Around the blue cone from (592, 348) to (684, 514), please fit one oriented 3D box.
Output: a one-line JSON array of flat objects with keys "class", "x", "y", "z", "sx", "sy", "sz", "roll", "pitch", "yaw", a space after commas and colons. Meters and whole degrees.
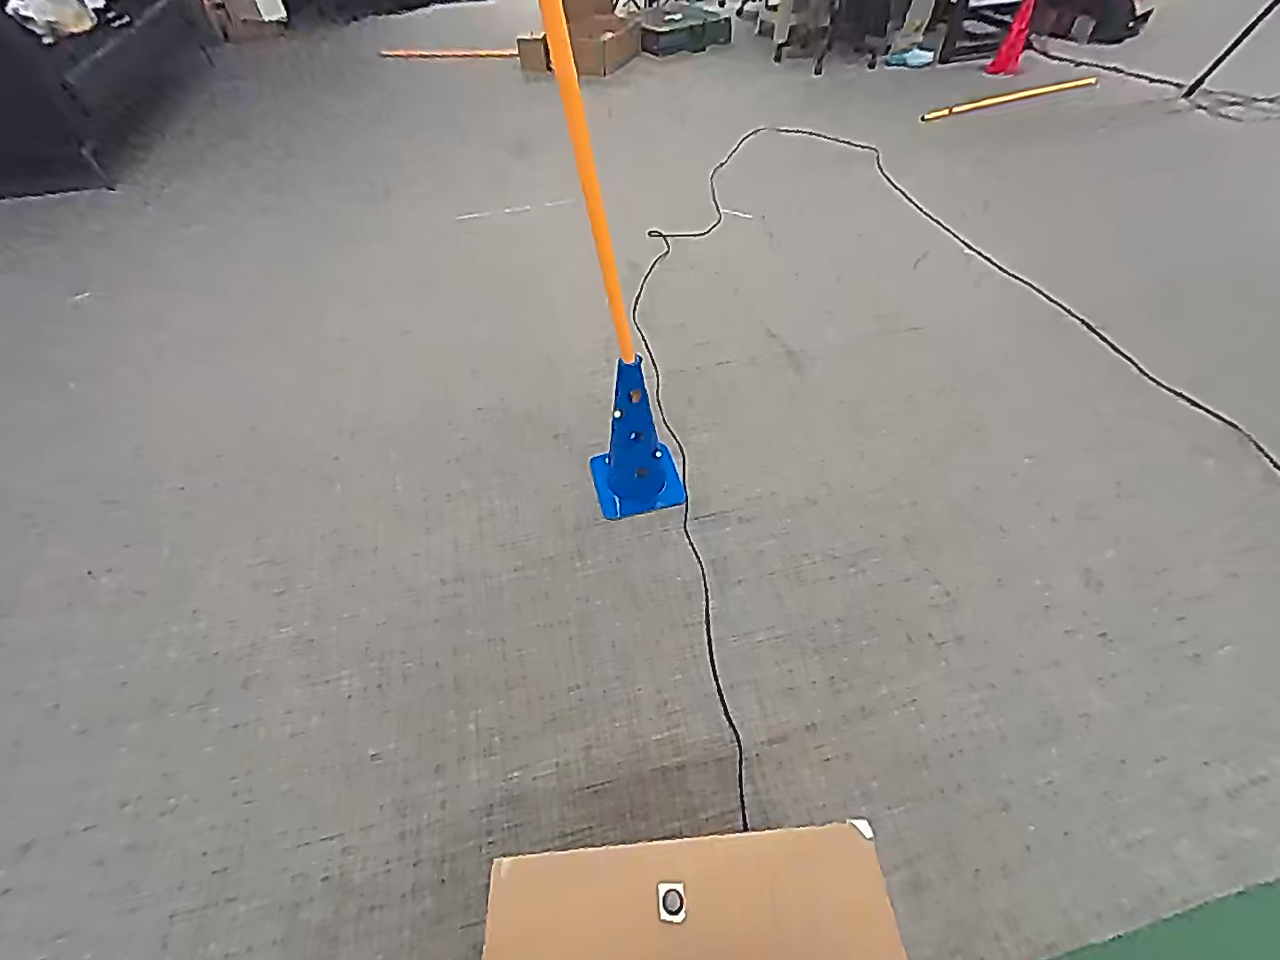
[{"class": "blue cone", "x": -0.015, "y": -0.111, "z": 1.149, "sx": 0.193, "sy": 0.380, "sz": 0.192, "roll": -15, "pitch": 51, "yaw": -8}]
